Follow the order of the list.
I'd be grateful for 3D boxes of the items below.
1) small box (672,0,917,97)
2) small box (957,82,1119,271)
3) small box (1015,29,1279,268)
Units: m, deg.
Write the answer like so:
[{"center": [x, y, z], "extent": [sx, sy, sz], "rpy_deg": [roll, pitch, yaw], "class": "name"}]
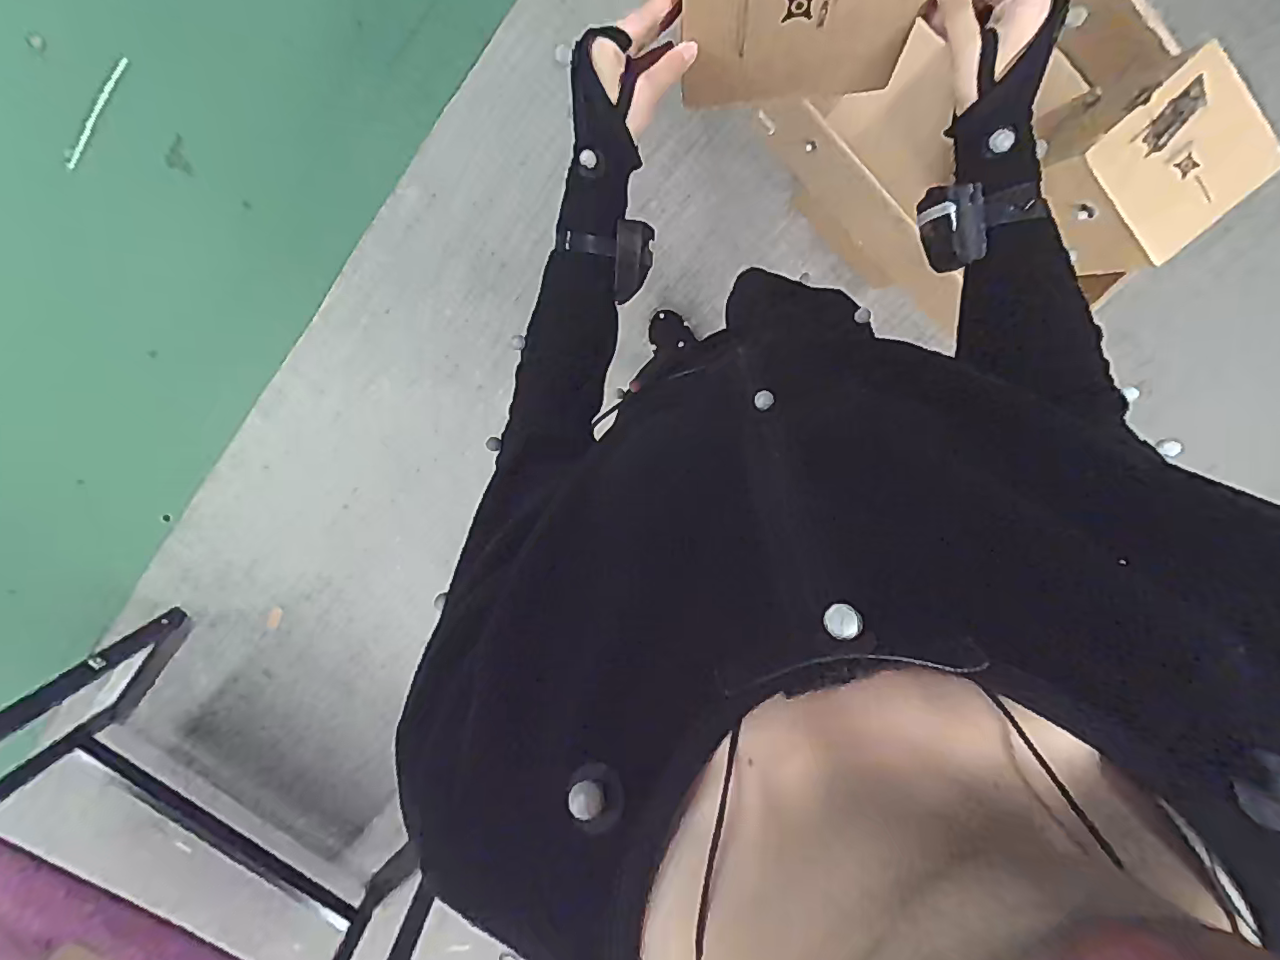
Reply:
[{"center": [0.109, -0.422, 0.386], "extent": [0.179, 0.168, 0.176], "rpy_deg": [-2, 81, 5], "class": "small box"}, {"center": [0.632, -0.449, 0.838], "extent": [0.179, 0.176, 0.168], "rpy_deg": [-41, 100, 13], "class": "small box"}, {"center": [0.632, -0.392, 0.684], "extent": [0.168, 0.176, 0.179], "rpy_deg": [-42, 101, 14], "class": "small box"}]
